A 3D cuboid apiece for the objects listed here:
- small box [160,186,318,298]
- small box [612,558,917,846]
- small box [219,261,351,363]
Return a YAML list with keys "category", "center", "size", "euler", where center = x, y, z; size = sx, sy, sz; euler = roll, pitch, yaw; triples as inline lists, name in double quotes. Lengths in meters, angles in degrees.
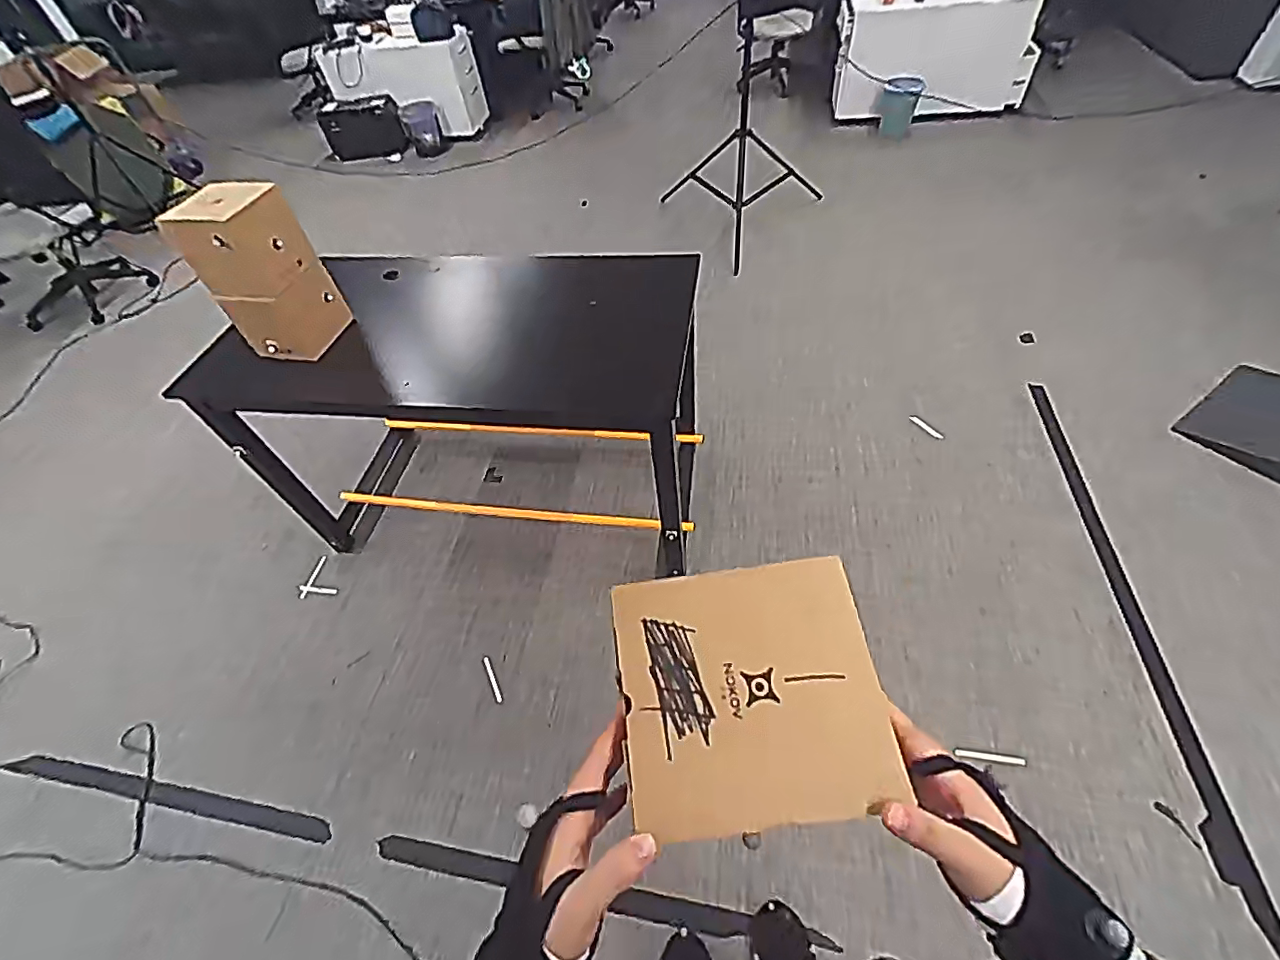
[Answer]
- category: "small box"
  center: [-0.849, -0.512, 1.168]
  size: [0.179, 0.176, 0.168]
  euler: [5, 52, 12]
- category: "small box"
  center: [0.080, 0.177, 0.434]
  size: [0.179, 0.176, 0.168]
  euler: [-8, 63, 0]
- category: "small box"
  center: [-0.829, -0.403, 1.291]
  size: [0.168, 0.176, 0.179]
  euler: [5, 53, 12]
